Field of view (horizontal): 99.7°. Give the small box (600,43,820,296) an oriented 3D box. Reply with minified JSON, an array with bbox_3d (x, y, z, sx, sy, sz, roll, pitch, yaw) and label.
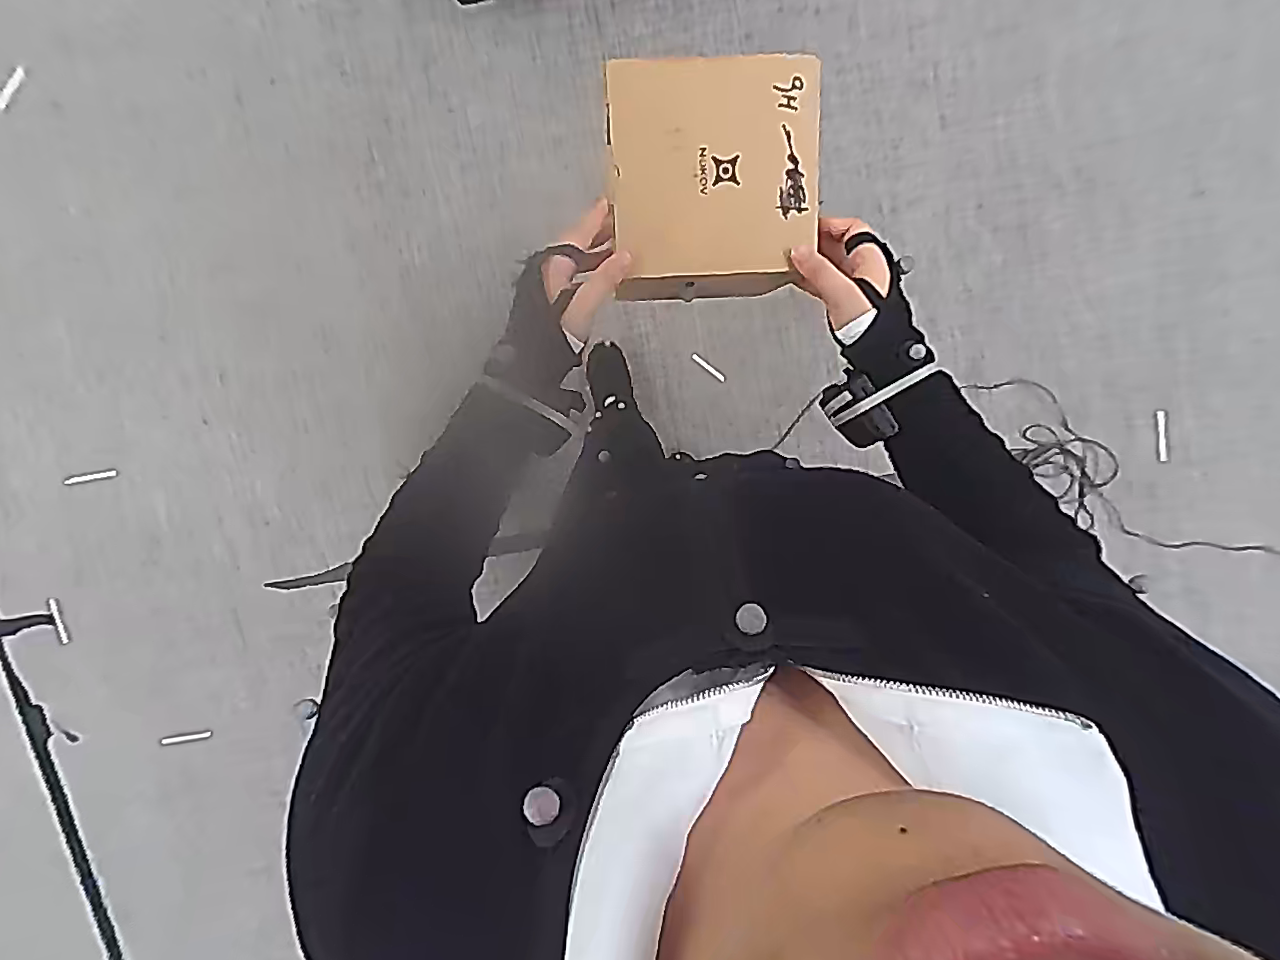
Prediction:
[{"bbox_3d":[0.057,-0.276,0.518,0.179,0.176,0.168,-3,101,-2],"label":"small box"}]
